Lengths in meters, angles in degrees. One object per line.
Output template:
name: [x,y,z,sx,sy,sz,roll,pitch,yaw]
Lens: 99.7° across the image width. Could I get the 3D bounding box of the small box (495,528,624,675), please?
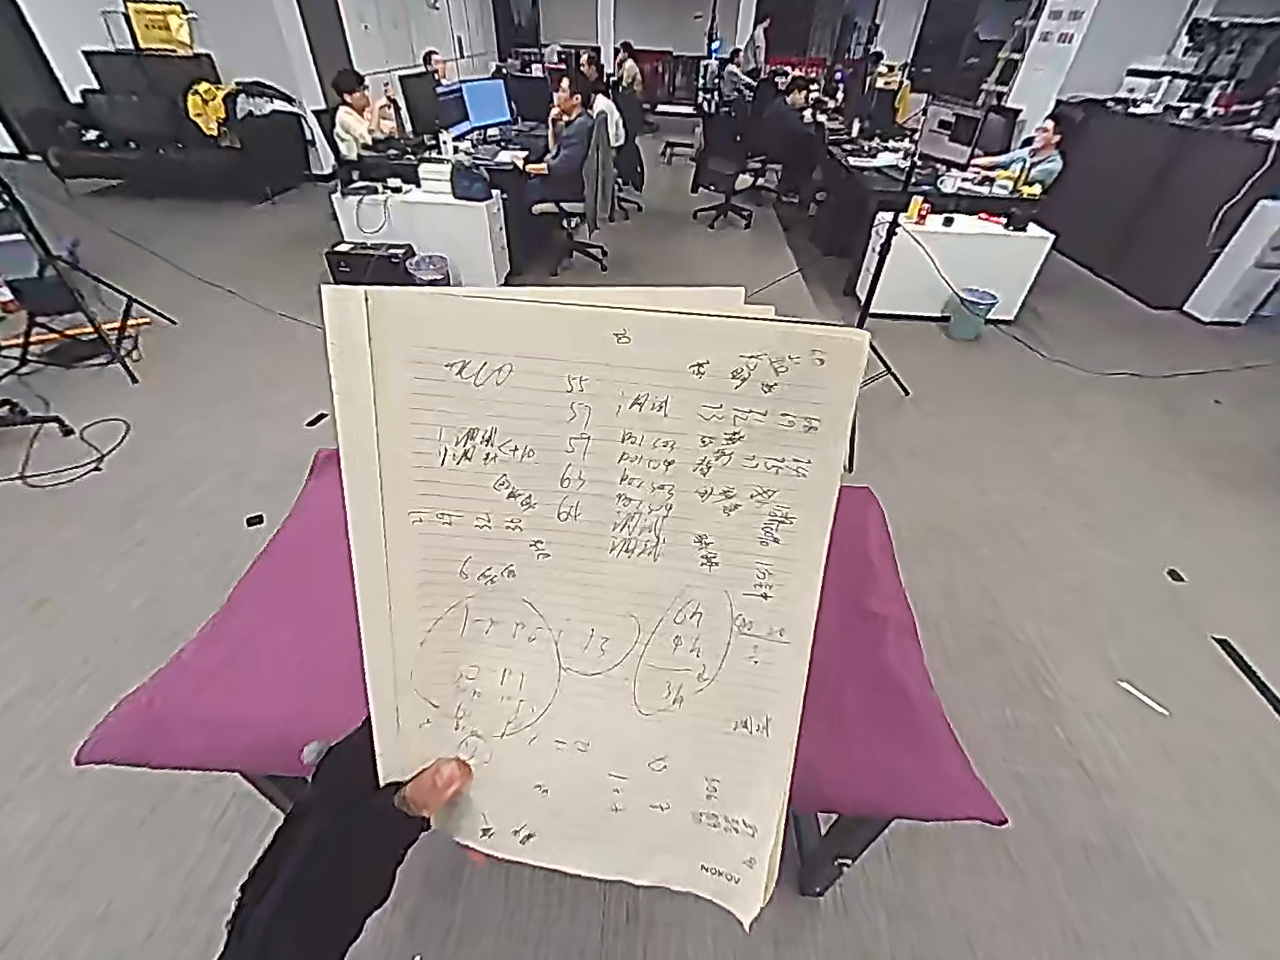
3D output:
small box: [-0.122,0.200,0.885,0.179,0.176,0.168,4,39,1]
